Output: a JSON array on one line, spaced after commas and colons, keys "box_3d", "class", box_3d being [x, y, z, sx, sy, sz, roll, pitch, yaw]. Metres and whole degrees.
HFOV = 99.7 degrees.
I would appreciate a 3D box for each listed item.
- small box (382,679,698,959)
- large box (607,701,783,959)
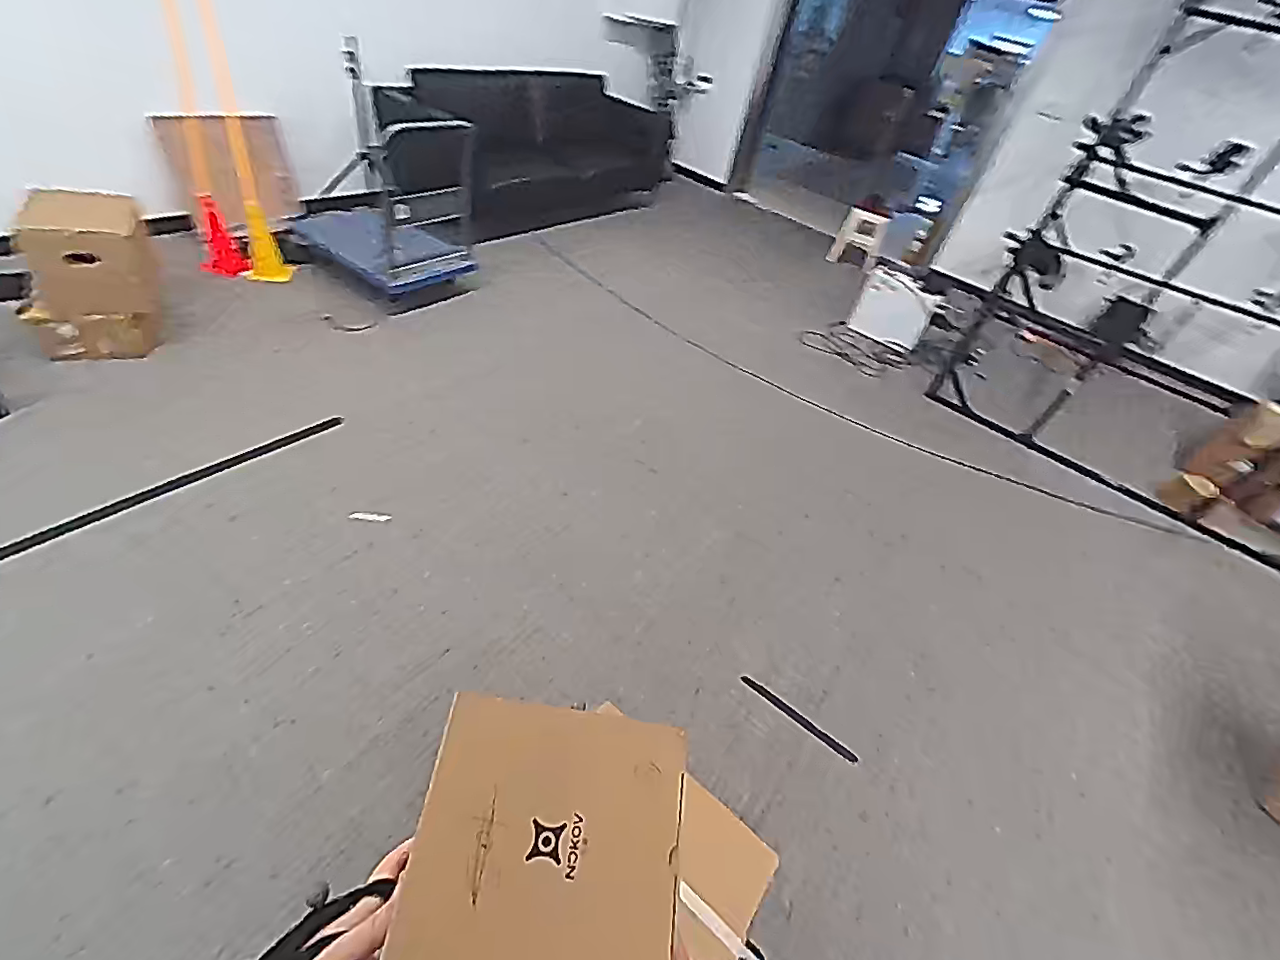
[{"box_3d": [-0.066, 0.265, 0.414, 0.179, 0.176, 0.168, 11, 57, -6], "class": "small box"}, {"box_3d": [-0.025, 0.706, 0.982, 0.408, 0.320, 0.320, 34, 45, 22], "class": "large box"}]
